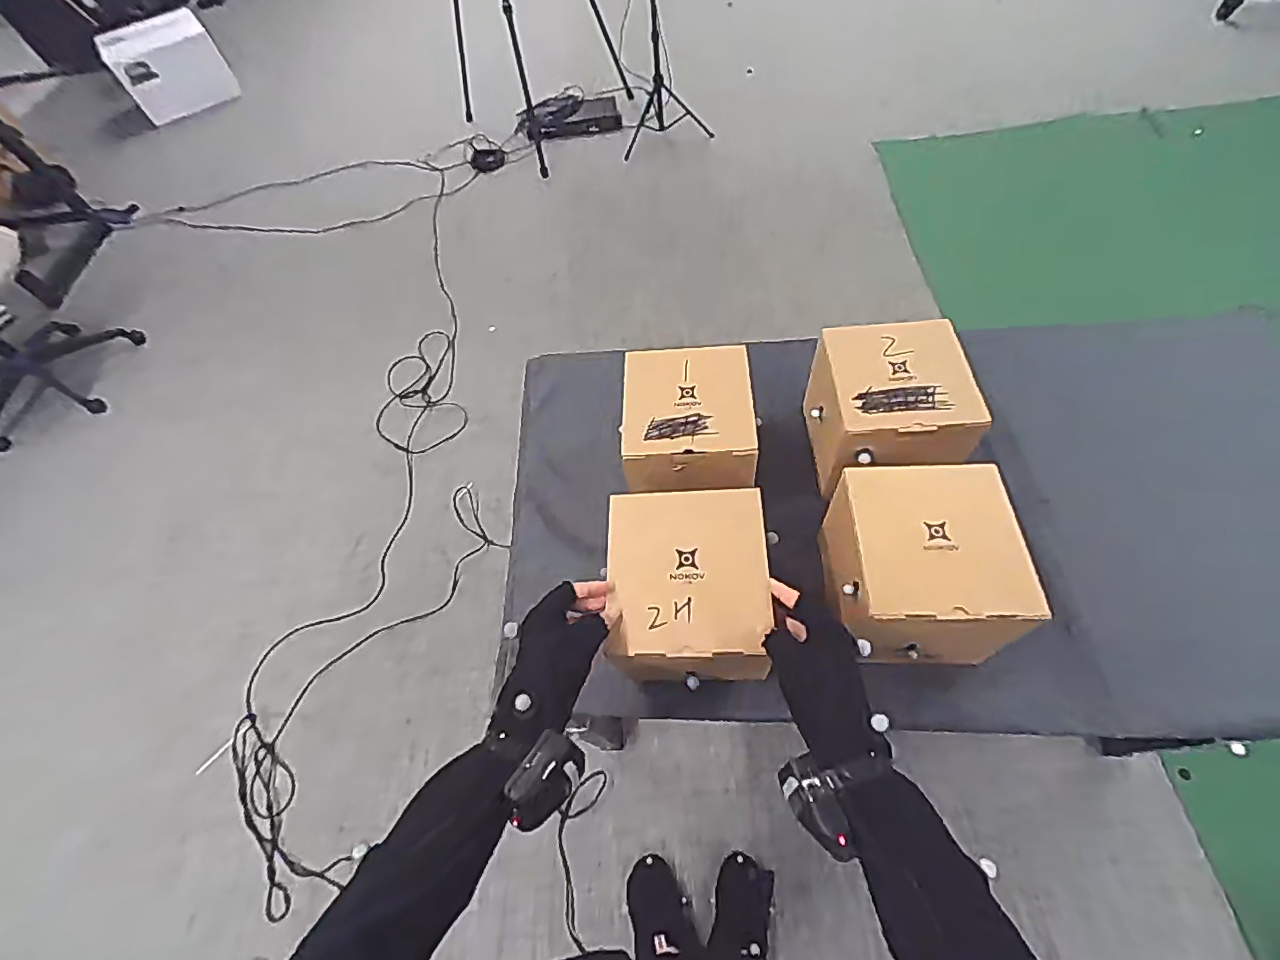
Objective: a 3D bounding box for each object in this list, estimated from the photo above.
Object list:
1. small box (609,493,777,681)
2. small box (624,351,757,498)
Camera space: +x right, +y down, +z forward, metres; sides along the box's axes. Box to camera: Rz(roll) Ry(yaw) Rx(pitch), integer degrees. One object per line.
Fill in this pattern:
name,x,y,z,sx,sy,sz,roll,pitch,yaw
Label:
small box,0.061,0.131,0.632,0.168,0.176,0.179,-3,62,7
small box,0.072,-0.056,0.762,0.168,0.176,0.179,-2,58,6
